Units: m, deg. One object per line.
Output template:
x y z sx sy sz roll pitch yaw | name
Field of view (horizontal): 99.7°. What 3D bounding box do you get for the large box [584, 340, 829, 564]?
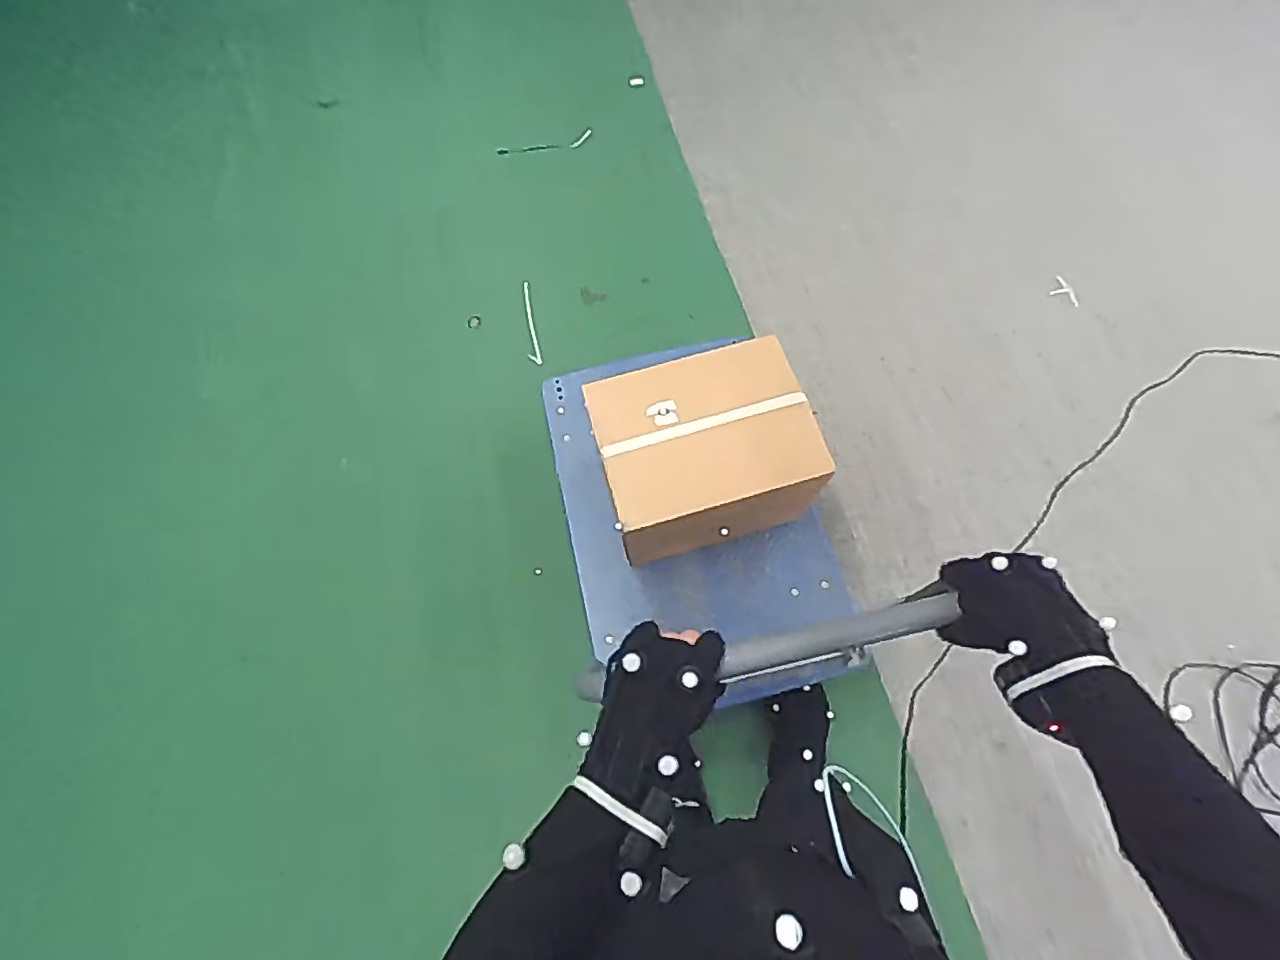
0.126 -0.043 1.173 0.408 0.320 0.320 -16 69 -3 | large box
